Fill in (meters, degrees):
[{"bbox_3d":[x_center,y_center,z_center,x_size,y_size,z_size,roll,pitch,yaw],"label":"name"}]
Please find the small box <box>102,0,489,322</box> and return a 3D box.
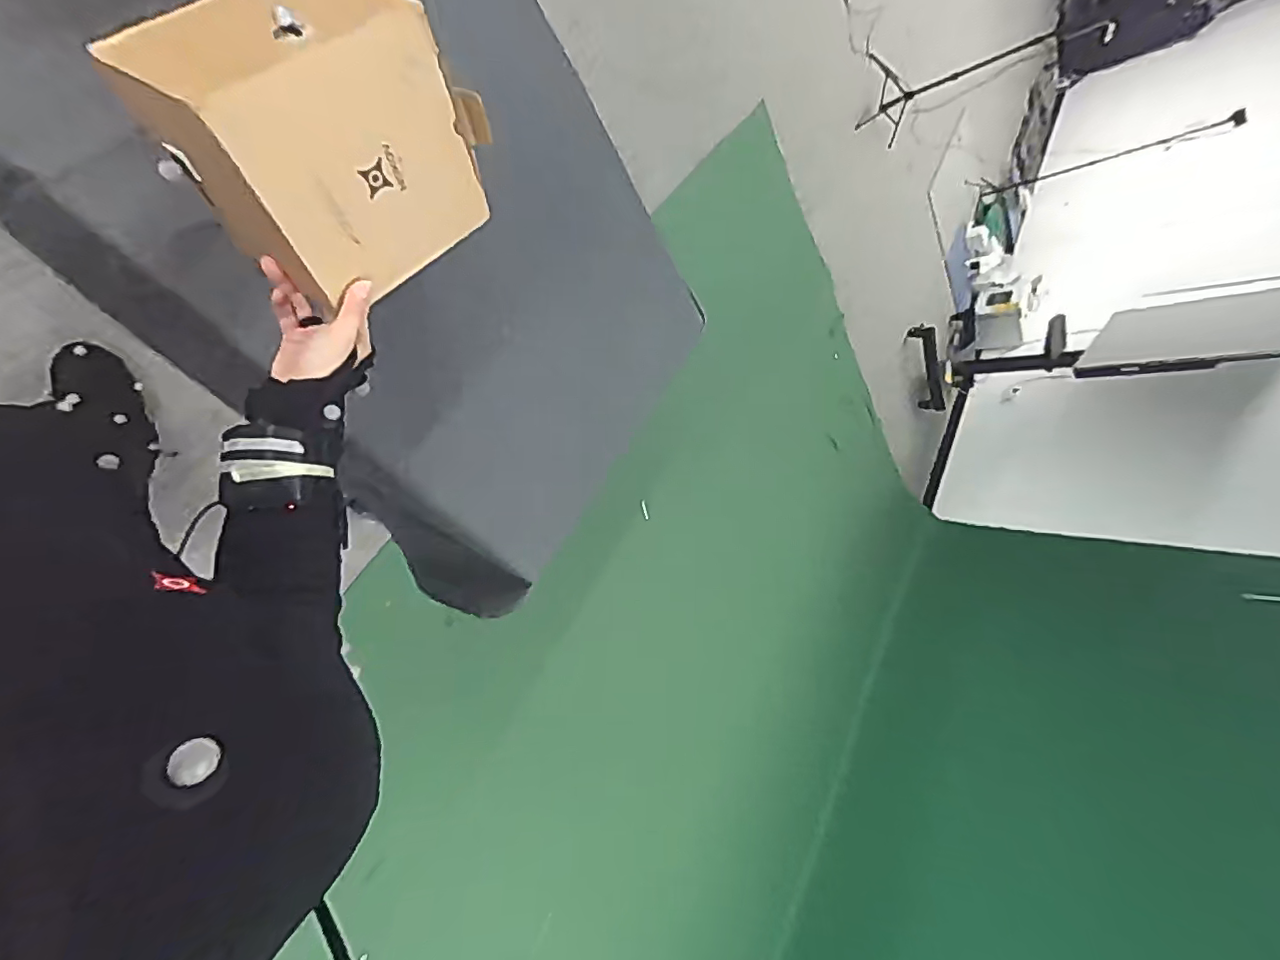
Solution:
[{"bbox_3d":[-0.263,-0.272,0.444,0.179,0.176,0.168,-48,157,-21],"label":"small box"}]
